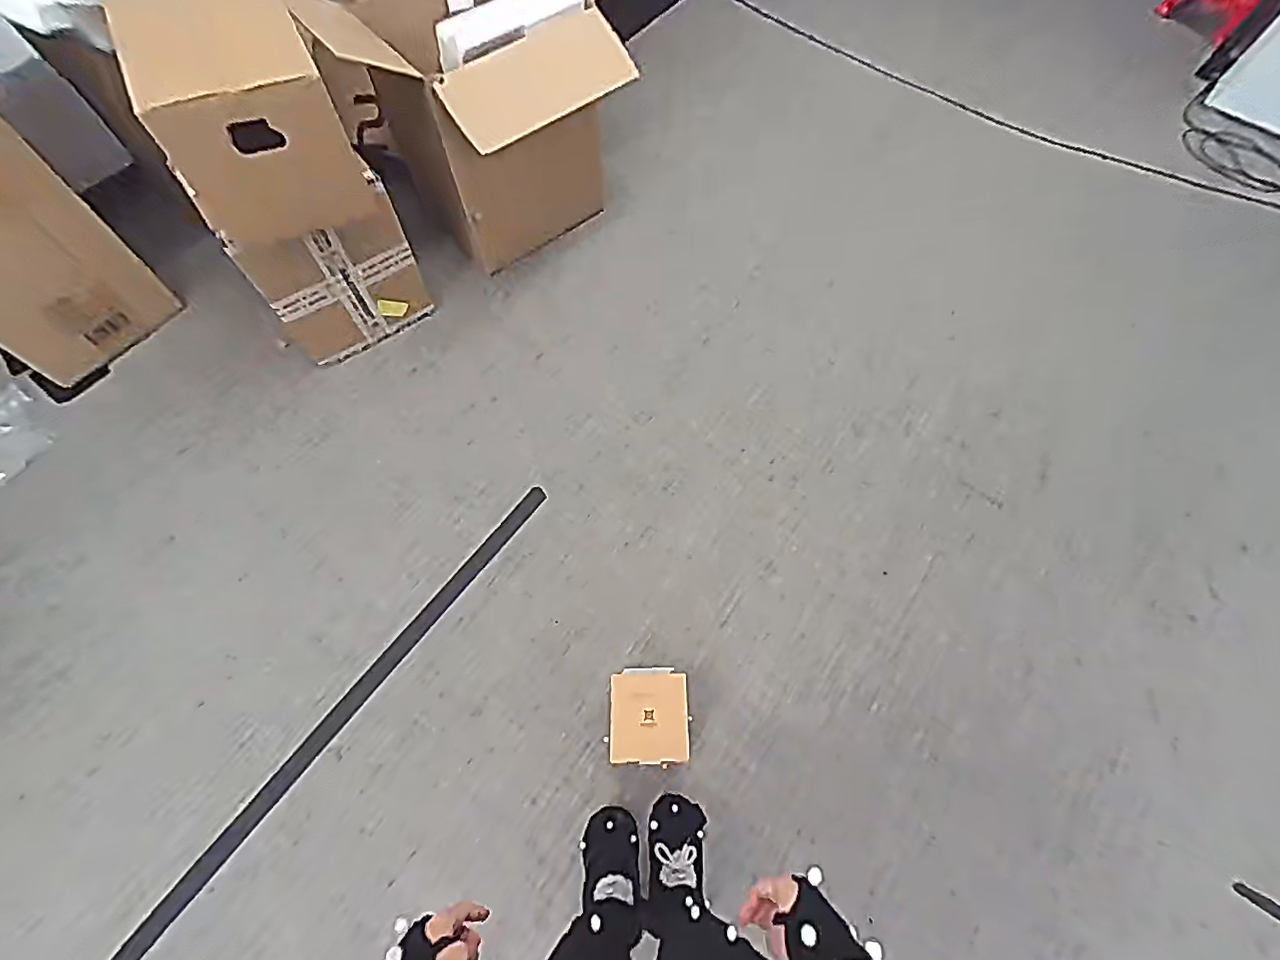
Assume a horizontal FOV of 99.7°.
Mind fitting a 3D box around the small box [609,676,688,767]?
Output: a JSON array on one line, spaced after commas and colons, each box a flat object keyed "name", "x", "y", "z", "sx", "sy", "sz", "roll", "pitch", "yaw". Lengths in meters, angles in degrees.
[{"name": "small box", "x": 0.015, "y": 0.539, "z": 1.211, "sx": 0.168, "sy": 0.176, "sz": 0.179, "roll": 0, "pitch": 64, "yaw": -3}]
